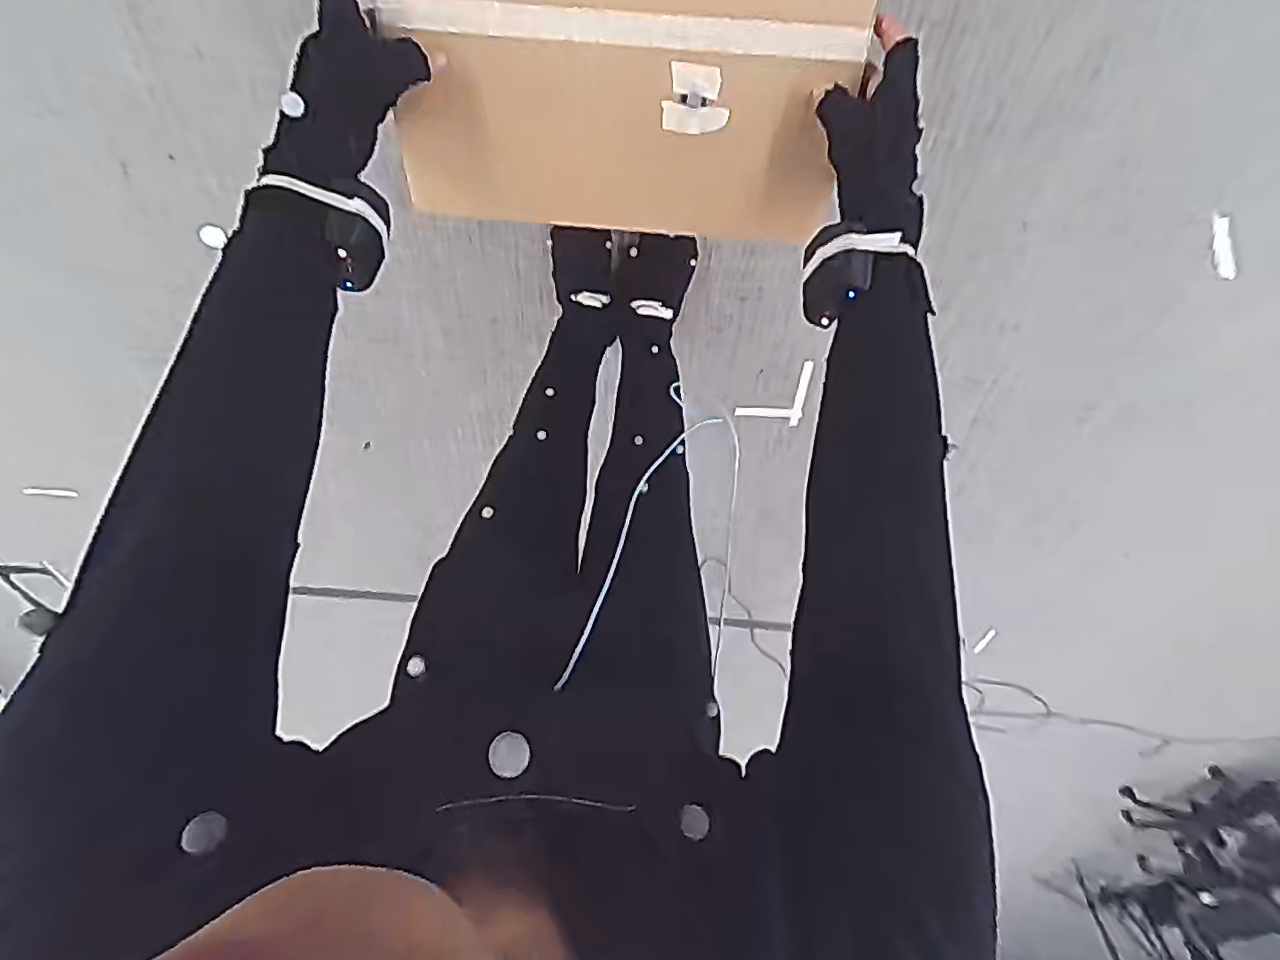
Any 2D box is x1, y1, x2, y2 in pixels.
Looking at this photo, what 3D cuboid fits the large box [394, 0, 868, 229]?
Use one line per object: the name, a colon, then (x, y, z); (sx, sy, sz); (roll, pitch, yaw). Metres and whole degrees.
large box: (-0.007, -0.481, 0.573); (0.408, 0.320, 0.320); (4, 131, 0)
